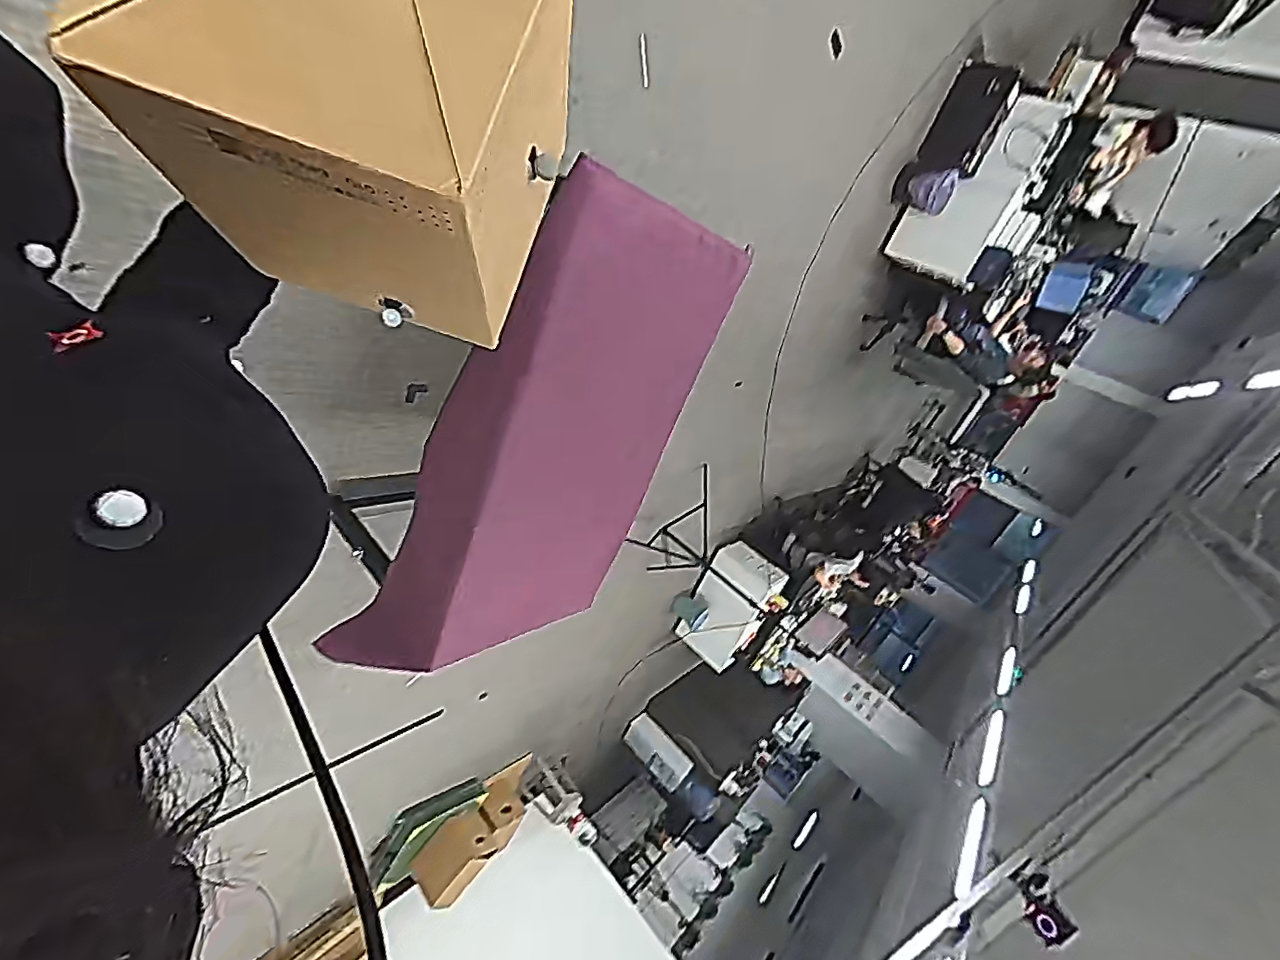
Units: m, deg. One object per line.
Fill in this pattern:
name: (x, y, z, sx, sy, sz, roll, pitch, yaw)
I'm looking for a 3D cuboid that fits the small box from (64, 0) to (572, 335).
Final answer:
small box: (-0.139, -0.215, 0.306, 0.176, 0.168, 0.179, 141, -34, -77)
